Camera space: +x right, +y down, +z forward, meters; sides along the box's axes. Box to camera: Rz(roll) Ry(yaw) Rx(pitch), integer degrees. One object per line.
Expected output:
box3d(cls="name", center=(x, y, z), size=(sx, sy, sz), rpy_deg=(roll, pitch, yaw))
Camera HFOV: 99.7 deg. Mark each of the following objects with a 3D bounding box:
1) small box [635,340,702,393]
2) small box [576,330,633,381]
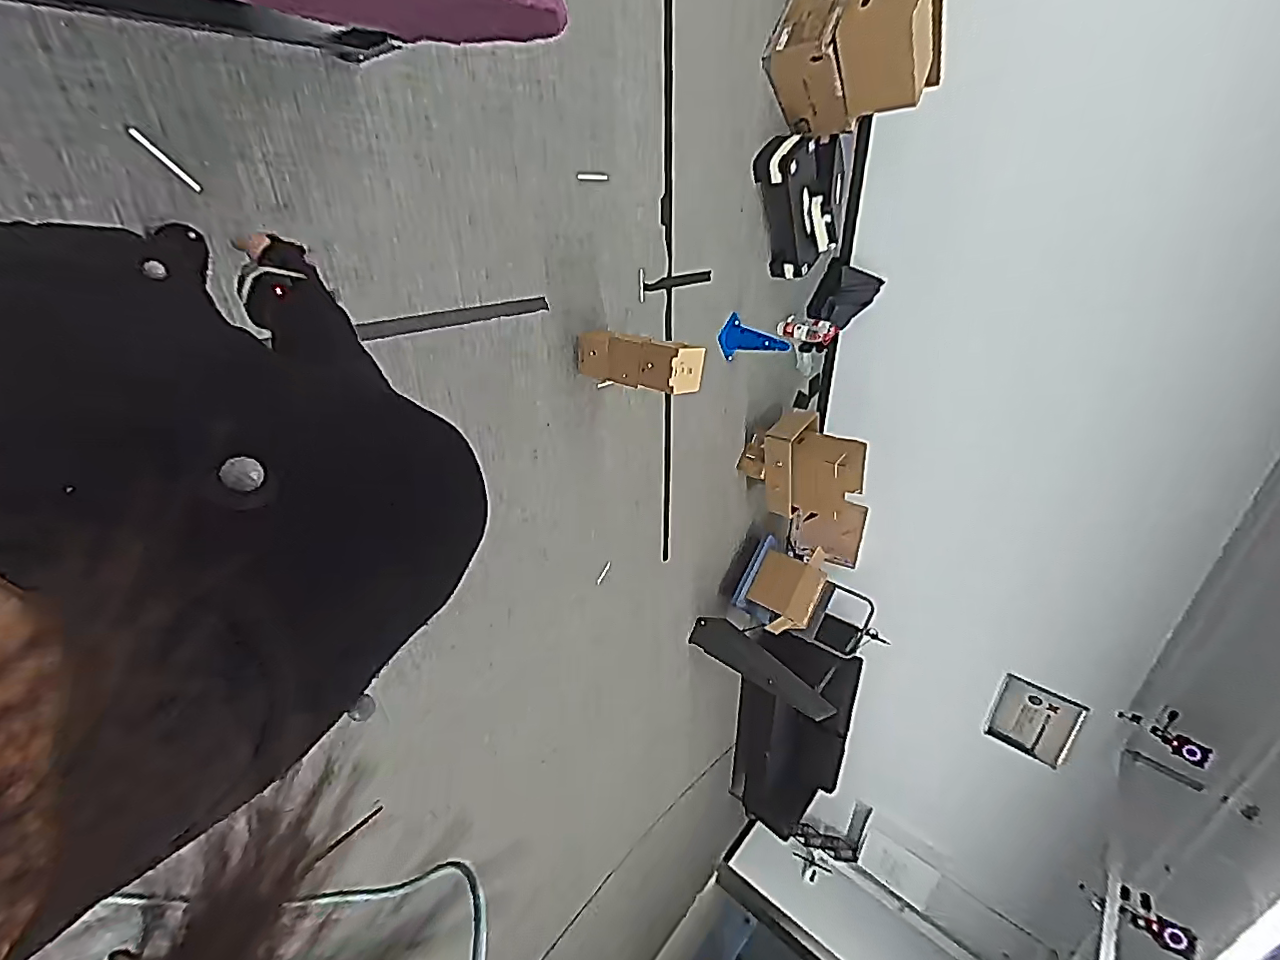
box3d(cls="small box", center=(0.107, -0.432, 2.032), size=(0.179, 0.176, 0.168), rpy_deg=(-17, 121, -48))
box3d(cls="small box", center=(-0.150, -0.515, 2.221), size=(0.179, 0.176, 0.168), rpy_deg=(-25, 126, -44))
